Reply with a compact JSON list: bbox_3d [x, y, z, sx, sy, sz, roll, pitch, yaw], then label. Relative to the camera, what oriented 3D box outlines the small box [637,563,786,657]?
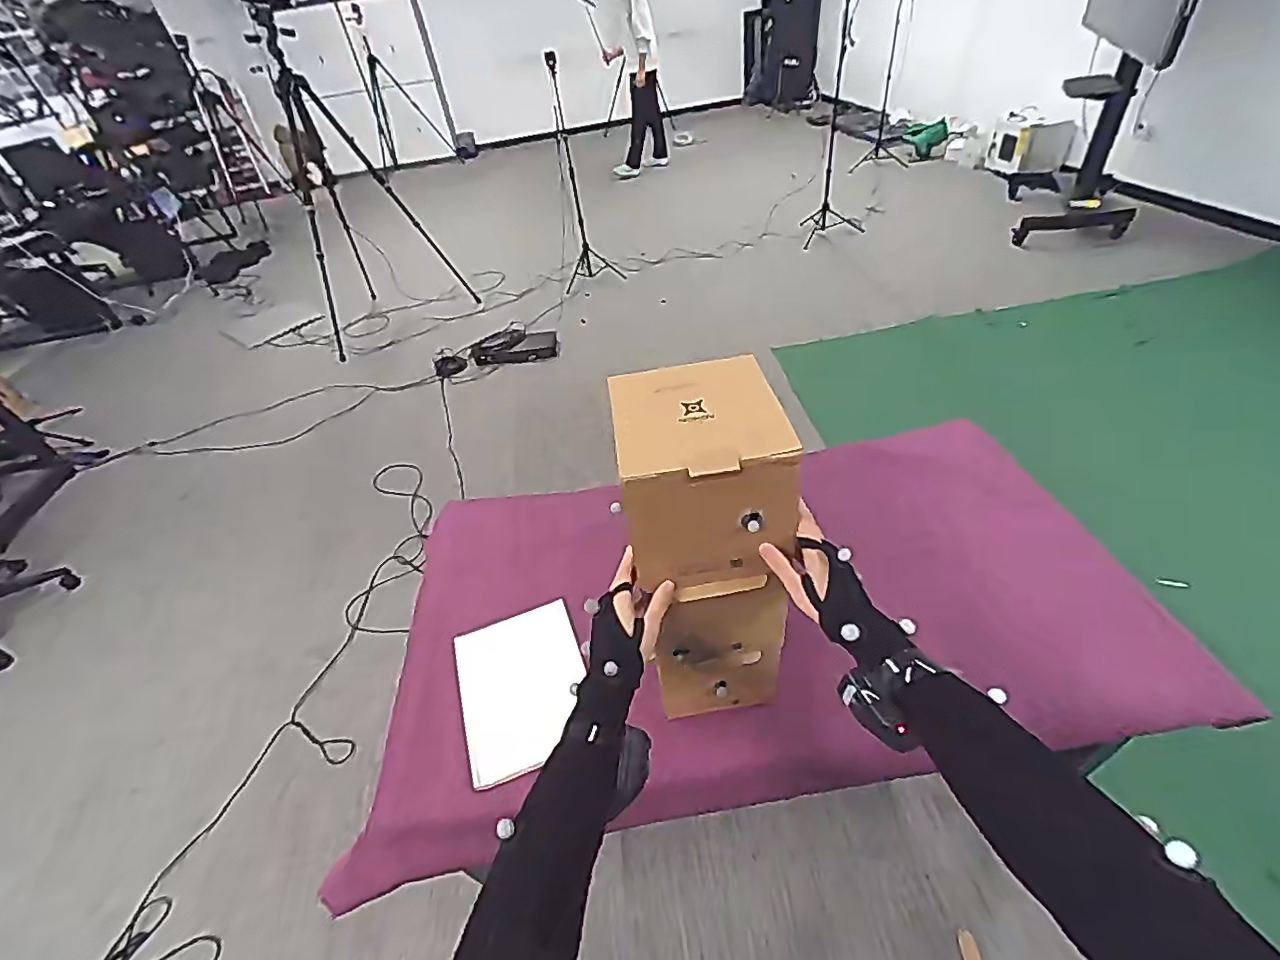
[{"bbox_3d":[0.083,0.111,0.703,0.168,0.176,0.179,-9,41,0],"label":"small box"}]

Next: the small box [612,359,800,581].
[{"bbox_3d":[0.065,-0.006,0.591,0.168,0.176,0.179,-8,41,0],"label":"small box"}]

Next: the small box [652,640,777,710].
[{"bbox_3d":[0.102,0.229,0.817,0.168,0.176,0.179,-9,42,0],"label":"small box"}]
